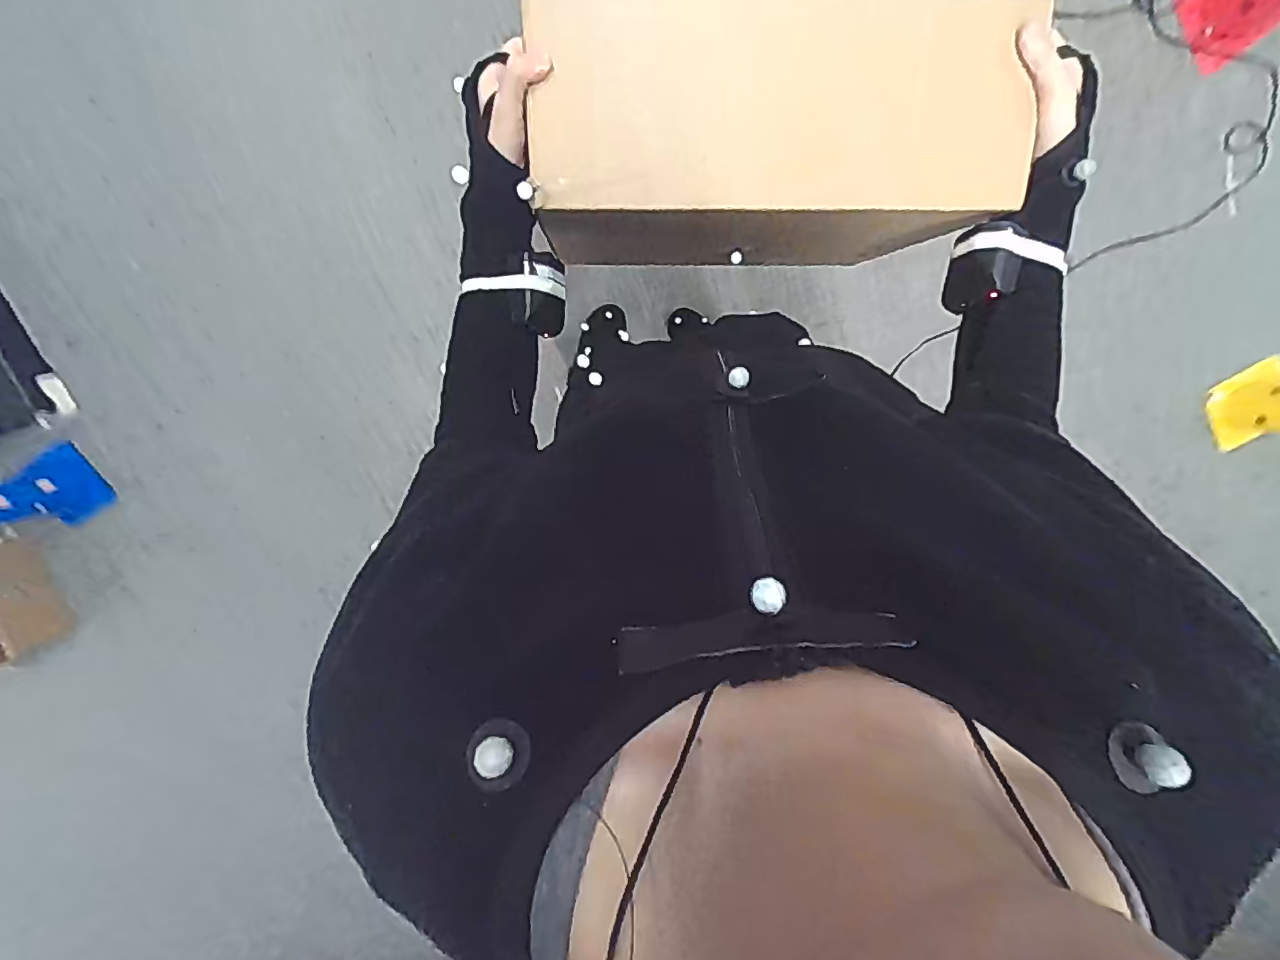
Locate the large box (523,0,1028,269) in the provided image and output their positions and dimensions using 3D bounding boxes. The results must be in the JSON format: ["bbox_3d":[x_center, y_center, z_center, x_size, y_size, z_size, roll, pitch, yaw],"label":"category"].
[{"bbox_3d":[0.102,-0.402,0.563,0.408,0.320,0.320,-1,103,-3],"label":"large box"}]
